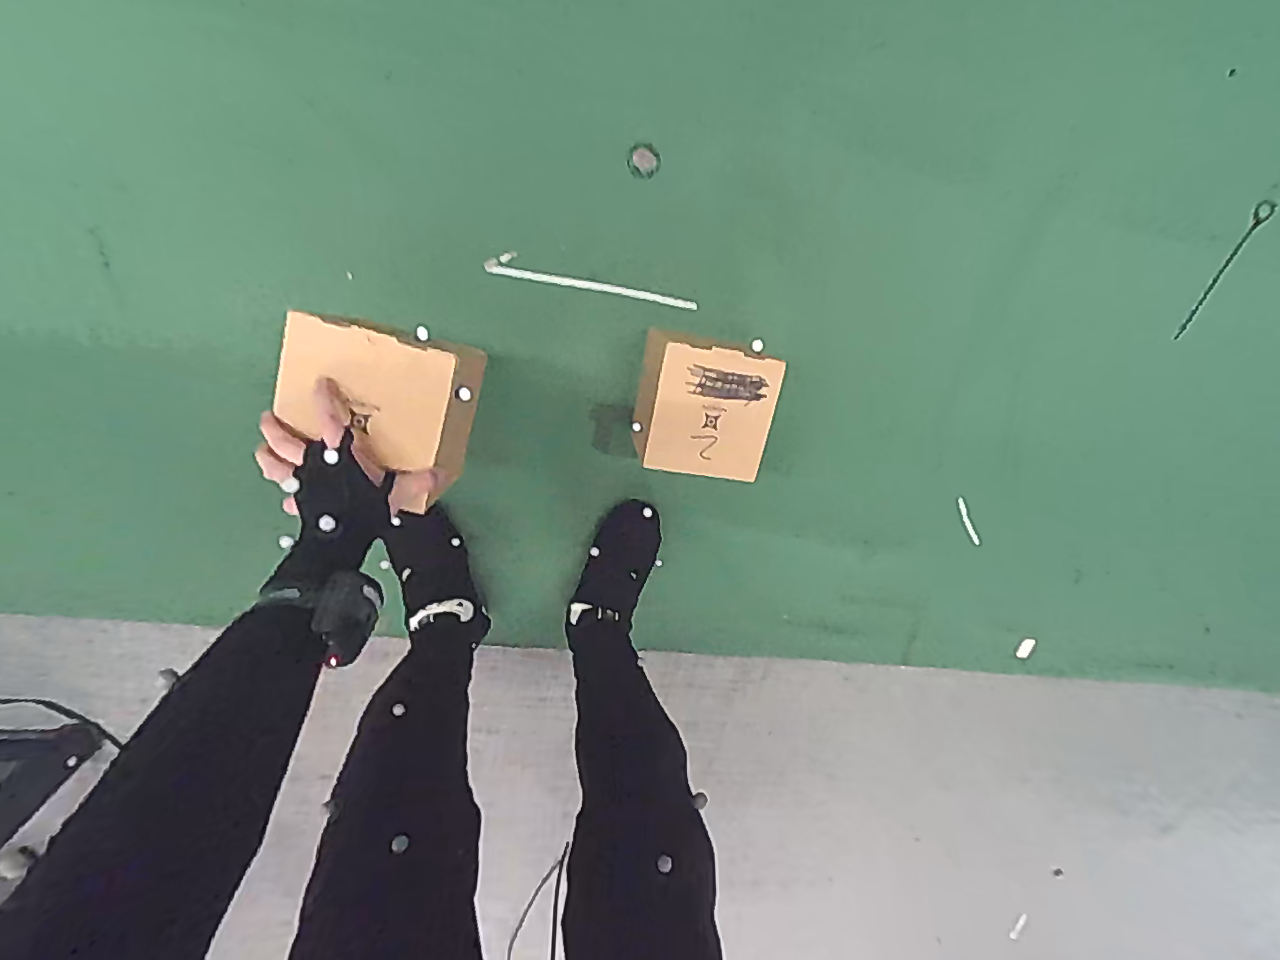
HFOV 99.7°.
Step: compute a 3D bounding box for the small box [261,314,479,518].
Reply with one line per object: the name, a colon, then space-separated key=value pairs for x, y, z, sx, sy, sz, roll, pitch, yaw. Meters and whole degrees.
small box: x=-0.296 y=-0.078 z=0.627 sx=0.168 sy=0.176 sz=0.179 roll=14 pitch=101 yaw=-9
